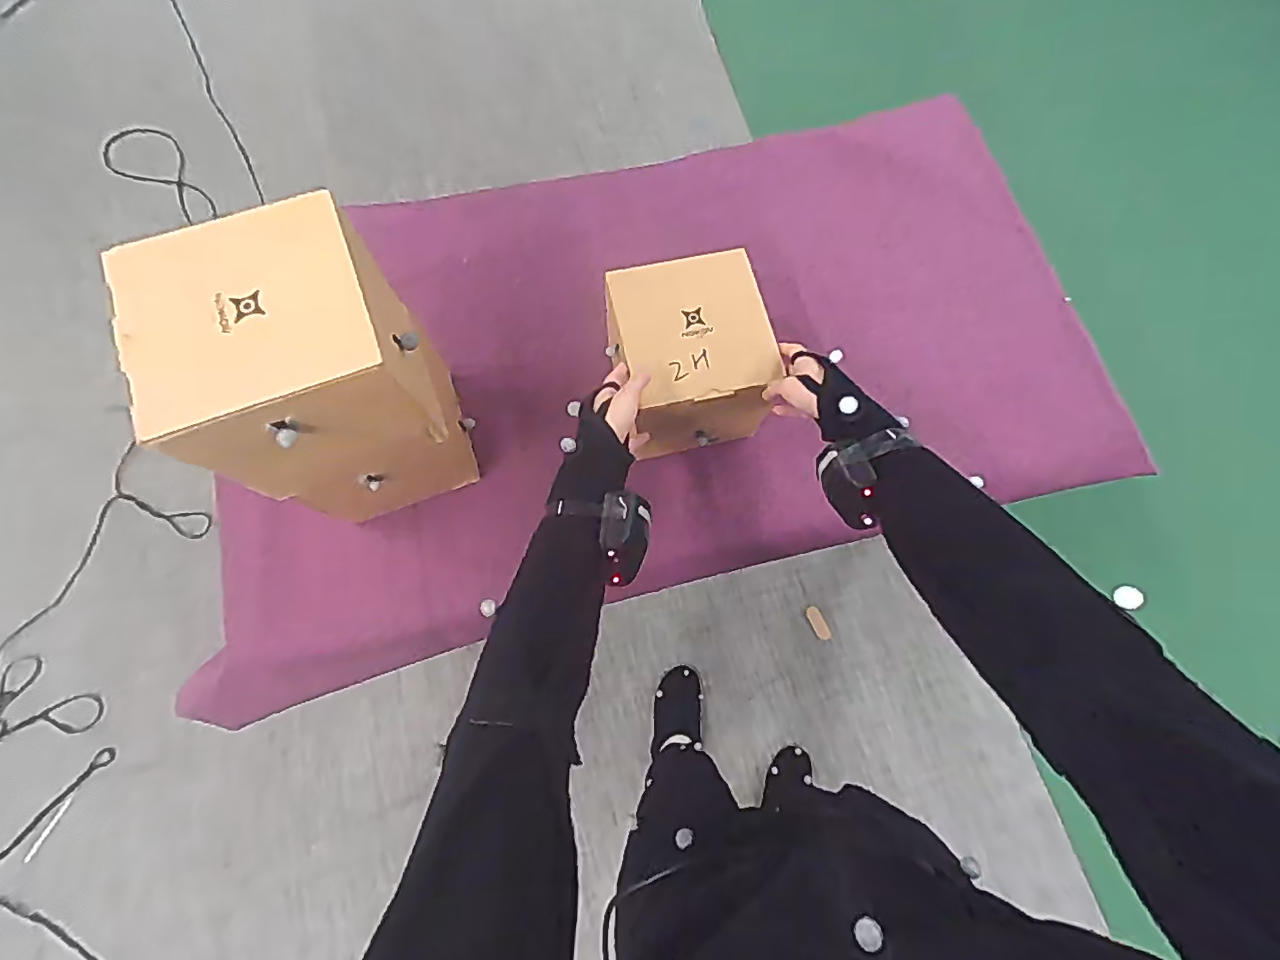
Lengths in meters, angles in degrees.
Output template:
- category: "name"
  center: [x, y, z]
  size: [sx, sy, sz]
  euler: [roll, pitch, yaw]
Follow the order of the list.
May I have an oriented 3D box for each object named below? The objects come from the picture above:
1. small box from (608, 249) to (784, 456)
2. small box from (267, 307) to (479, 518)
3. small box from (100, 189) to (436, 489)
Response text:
- category: "small box"
  center: [0.055, -0.148, 0.666]
  size: [0.168, 0.176, 0.179]
  euler: [-11, 75, -4]
- category: "small box"
  center: [-0.311, -0.068, 0.633]
  size: [0.179, 0.176, 0.168]
  euler: [-19, 76, -7]
- category: "small box"
  center: [-0.300, -0.109, 0.477]
  size: [0.179, 0.176, 0.168]
  euler: [-21, 77, -7]
